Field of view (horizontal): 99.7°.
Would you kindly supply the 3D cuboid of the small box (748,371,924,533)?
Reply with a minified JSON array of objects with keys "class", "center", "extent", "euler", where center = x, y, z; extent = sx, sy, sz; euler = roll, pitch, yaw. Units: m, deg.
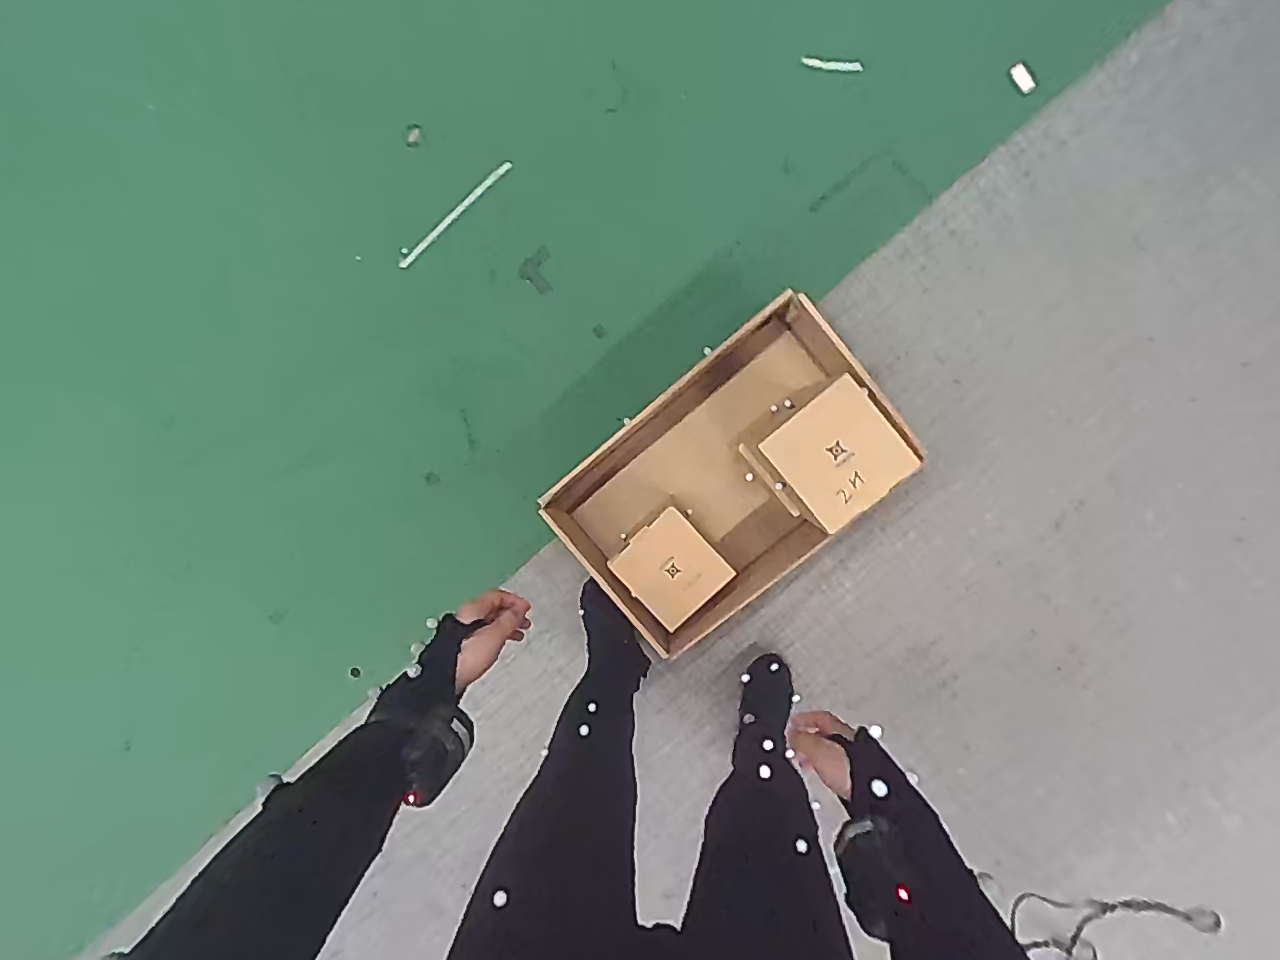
[{"class":"small box","center":[0.292,-0.045,0.849],"extent":[0.168,0.176,0.179],"euler":[-40,94,6]}]
